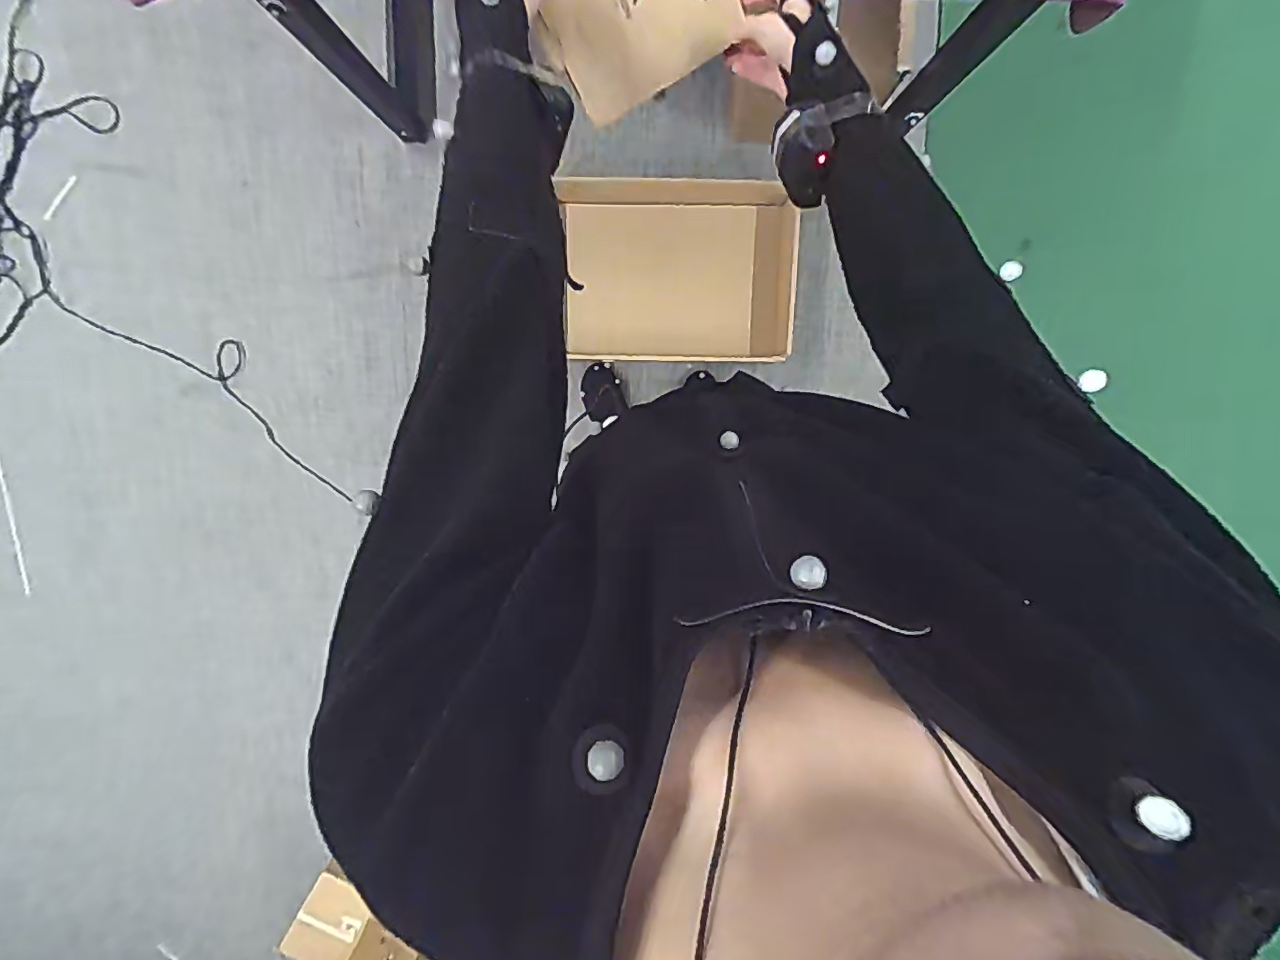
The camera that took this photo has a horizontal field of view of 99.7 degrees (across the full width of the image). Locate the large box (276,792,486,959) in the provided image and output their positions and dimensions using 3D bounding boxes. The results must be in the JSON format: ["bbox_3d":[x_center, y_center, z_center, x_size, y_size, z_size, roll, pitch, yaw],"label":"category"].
[{"bbox_3d":[-0.737,1.230,1.597,0.408,0.320,0.320,31,99,-3],"label":"large box"}]

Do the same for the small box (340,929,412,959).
[{"bbox_3d":[-0.710,1.304,1.362,0.168,0.176,0.179,35,100,-5],"label":"small box"}]

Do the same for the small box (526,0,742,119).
[{"bbox_3d":[-0.009,-0.505,0.548,0.179,0.176,0.168,-19,127,20],"label":"small box"}]
